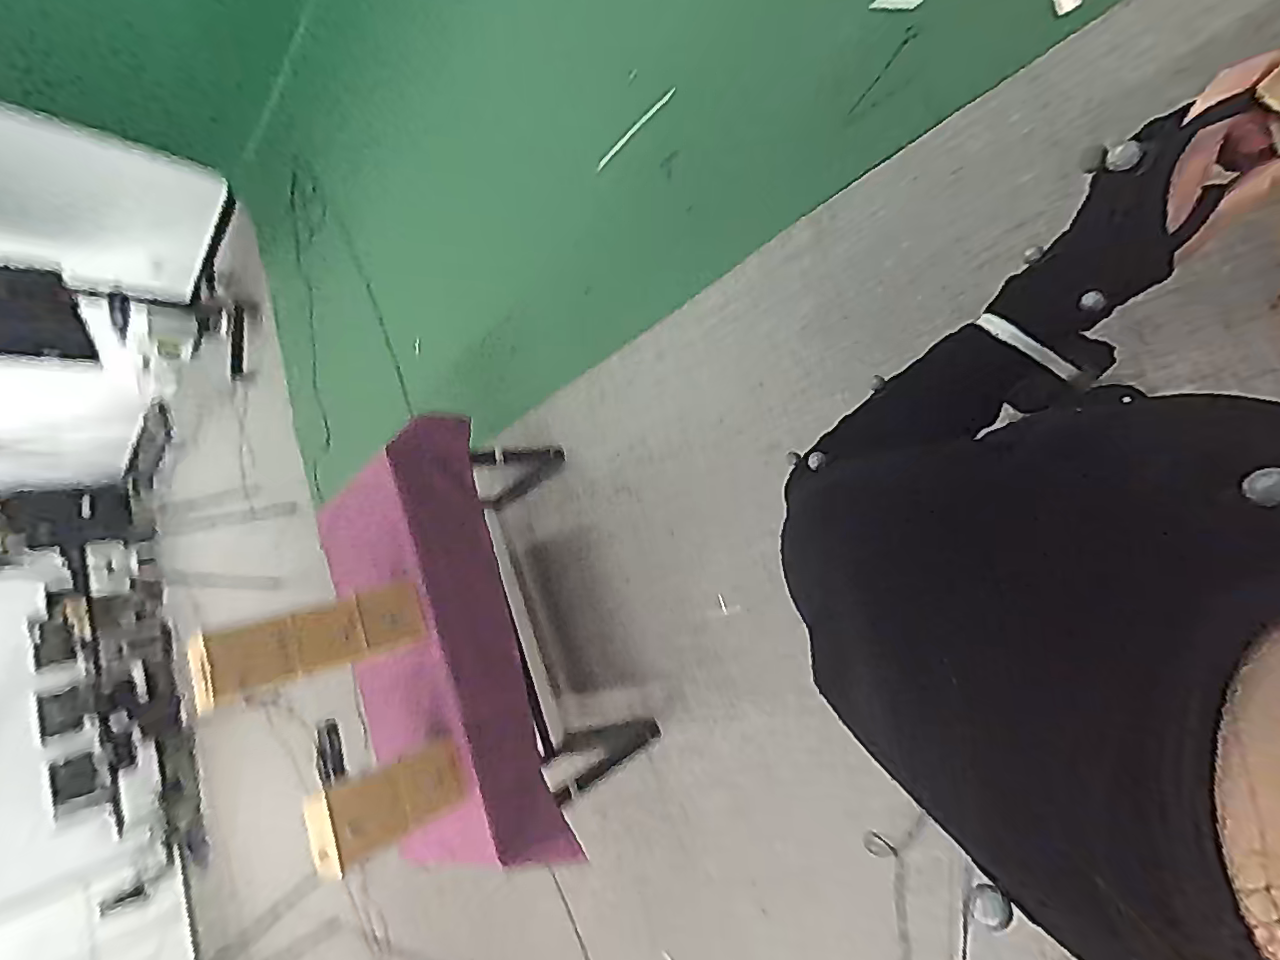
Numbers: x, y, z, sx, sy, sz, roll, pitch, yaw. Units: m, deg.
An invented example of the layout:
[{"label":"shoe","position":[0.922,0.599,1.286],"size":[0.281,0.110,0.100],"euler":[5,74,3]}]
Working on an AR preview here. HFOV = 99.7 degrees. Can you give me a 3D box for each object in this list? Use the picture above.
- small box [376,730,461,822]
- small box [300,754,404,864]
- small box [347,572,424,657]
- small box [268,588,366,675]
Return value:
[{"label":"small box","position":[-0.608,0.800,1.472],"size":[0.179,0.176,0.168],"euler":[-28,75,37]},{"label":"small box","position":[-0.711,0.810,1.343],"size":[0.168,0.176,0.179],"euler":[-28,75,37]},{"label":"small box","position":[-0.747,0.383,1.554],"size":[0.168,0.176,0.179],"euler":[-29,76,36]},{"label":"small box","position":[-0.854,0.398,1.432],"size":[0.179,0.176,0.168],"euler":[-27,76,37]}]
